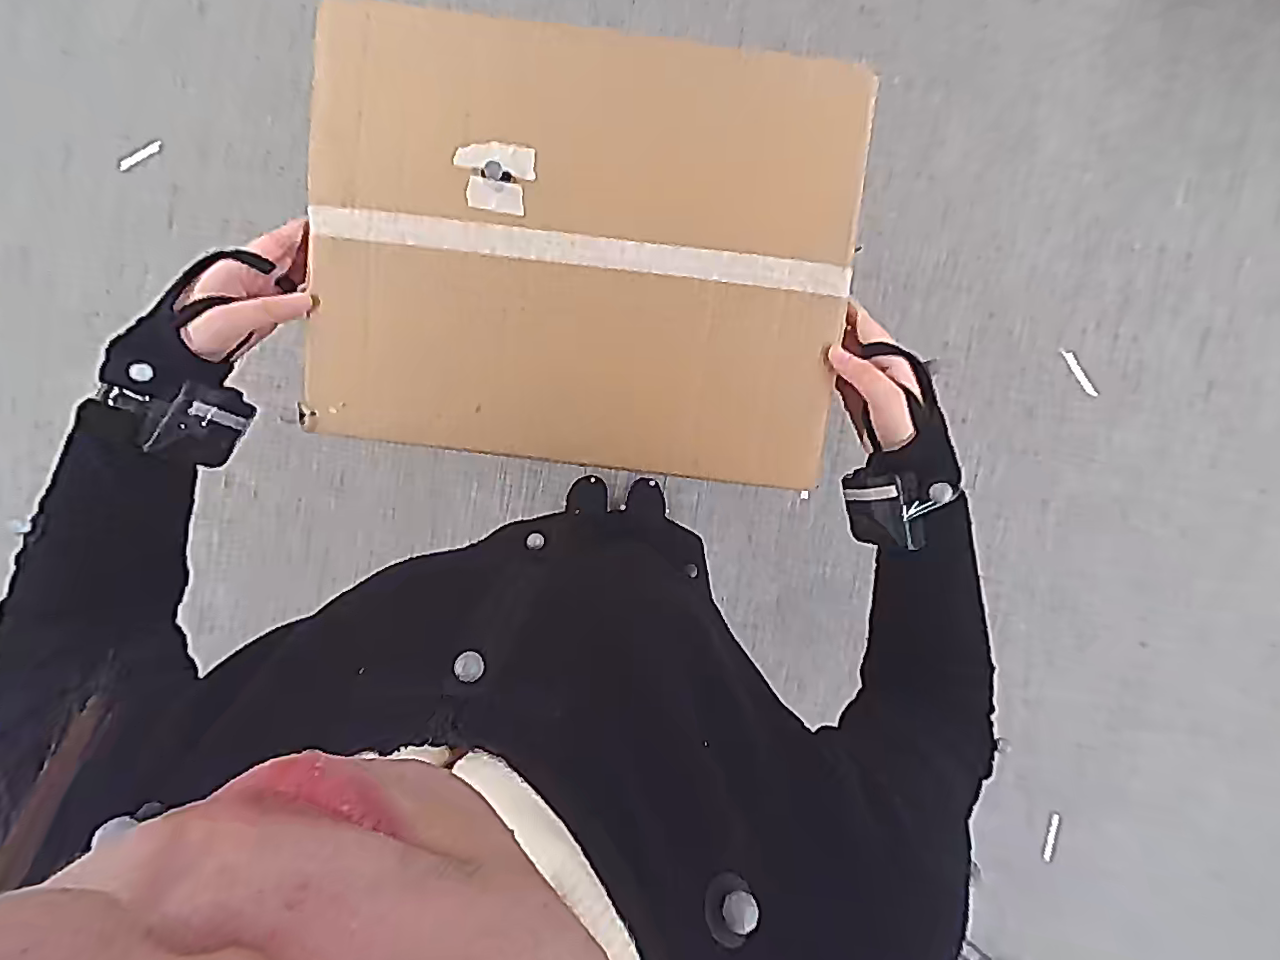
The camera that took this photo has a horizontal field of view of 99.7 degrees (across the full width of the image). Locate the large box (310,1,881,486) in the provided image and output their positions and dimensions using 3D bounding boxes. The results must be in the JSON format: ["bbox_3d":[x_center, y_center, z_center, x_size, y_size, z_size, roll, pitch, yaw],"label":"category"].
[{"bbox_3d":[-0.038,-0.185,0.545,0.408,0.320,0.320,7,96,0],"label":"large box"}]
